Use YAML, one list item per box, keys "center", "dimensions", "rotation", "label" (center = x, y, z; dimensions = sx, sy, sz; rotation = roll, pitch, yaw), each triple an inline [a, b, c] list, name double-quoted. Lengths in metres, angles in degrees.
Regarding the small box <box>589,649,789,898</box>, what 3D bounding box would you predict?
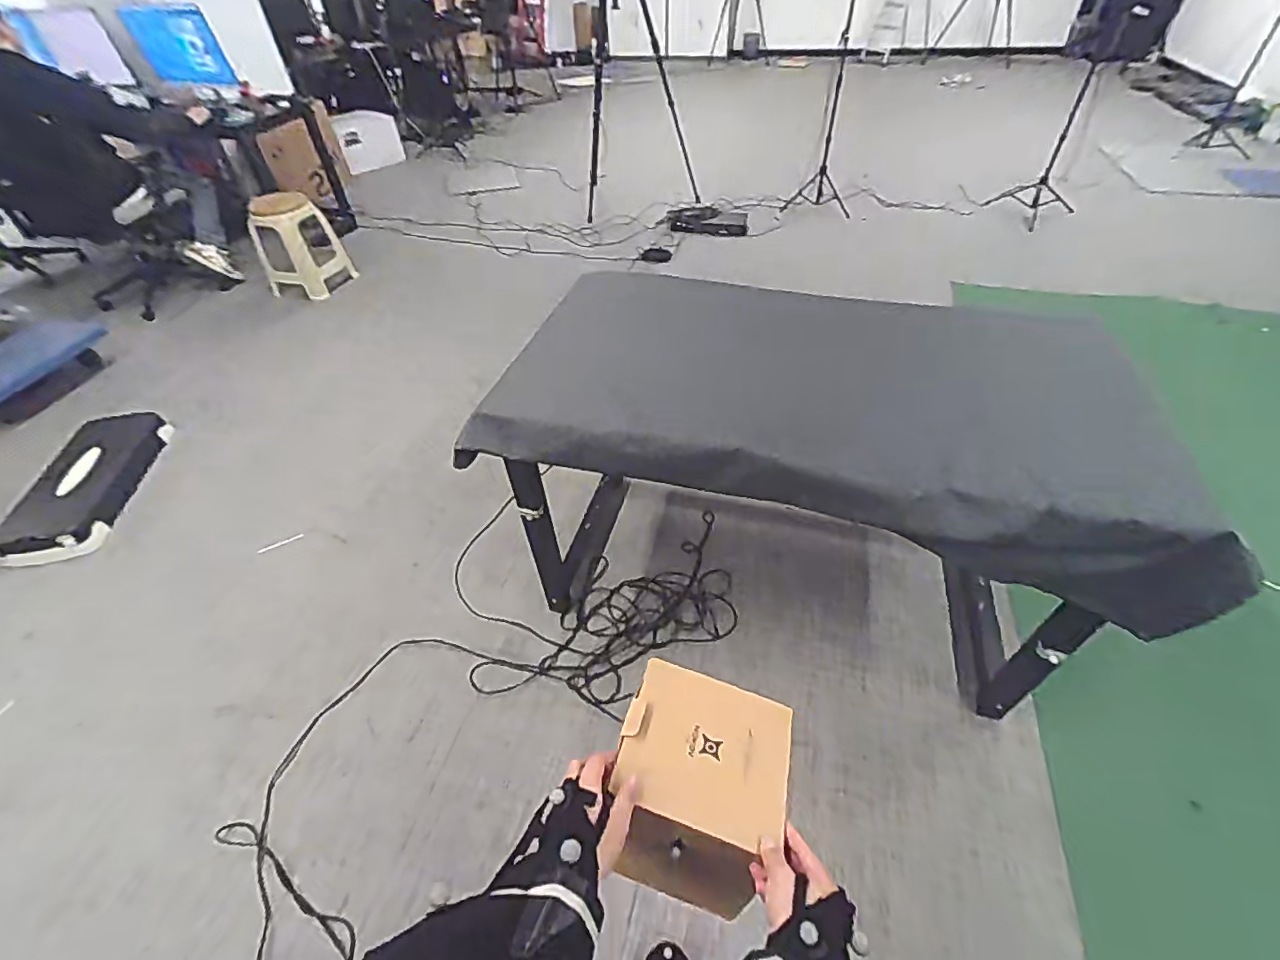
- center: [0.053, 0.332, 0.615]
  dimensions: [0.179, 0.176, 0.168]
  rotation: [18, 36, 7]
  label: "small box"
